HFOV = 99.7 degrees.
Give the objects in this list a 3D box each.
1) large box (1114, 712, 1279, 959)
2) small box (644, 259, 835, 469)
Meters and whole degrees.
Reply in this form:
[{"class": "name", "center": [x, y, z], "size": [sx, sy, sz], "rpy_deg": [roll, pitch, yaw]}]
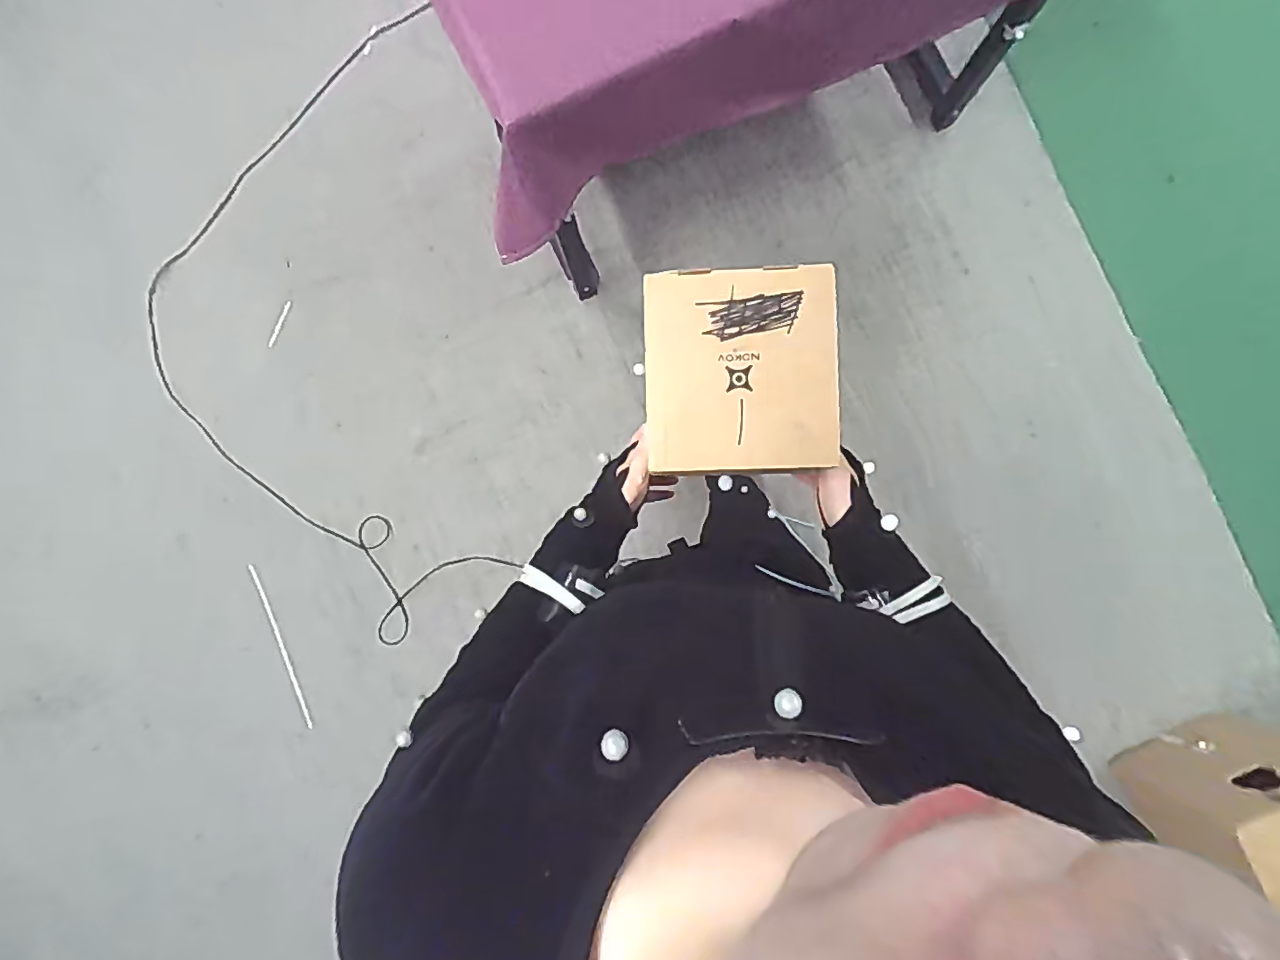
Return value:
[{"class": "large box", "center": [1.454, 0.841, 1.266], "size": [0.320, 0.320, 0.408], "rpy_deg": [-24, 88, 0]}, {"class": "small box", "center": [0.091, -0.102, 0.549], "size": [0.168, 0.176, 0.179], "rpy_deg": [-2, 90, 5]}]
